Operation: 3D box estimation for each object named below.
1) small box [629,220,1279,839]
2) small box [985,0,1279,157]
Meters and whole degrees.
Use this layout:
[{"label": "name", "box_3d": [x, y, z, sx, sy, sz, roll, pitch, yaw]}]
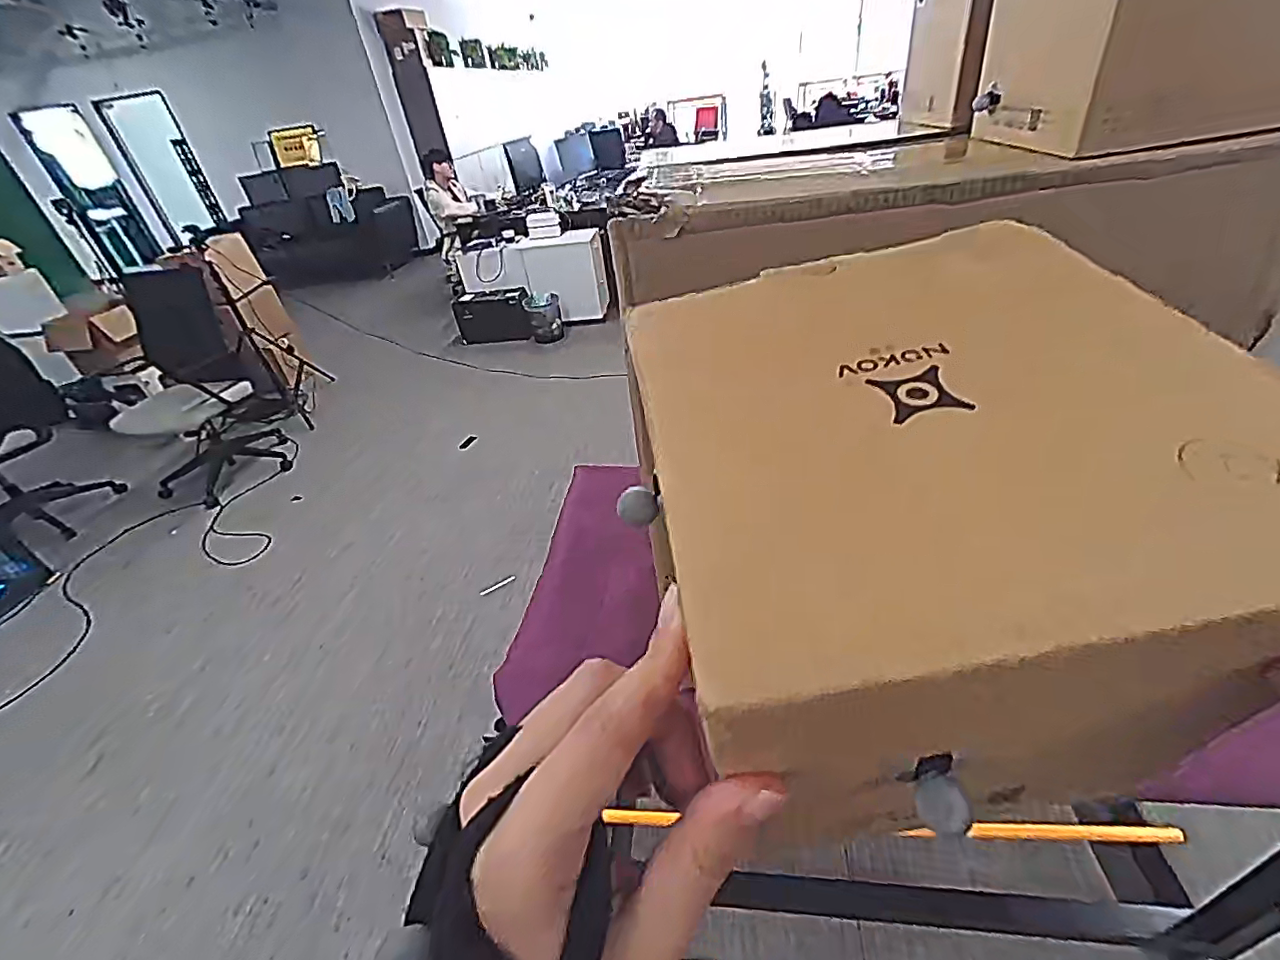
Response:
[{"label": "small box", "box_3d": [0.099, 0.027, 0.223, 0.168, 0.176, 0.179, -12, 45, 3]}, {"label": "small box", "box_3d": [0.373, -0.339, 0.378, 0.179, 0.176, 0.168, -5, 36, 7]}]
